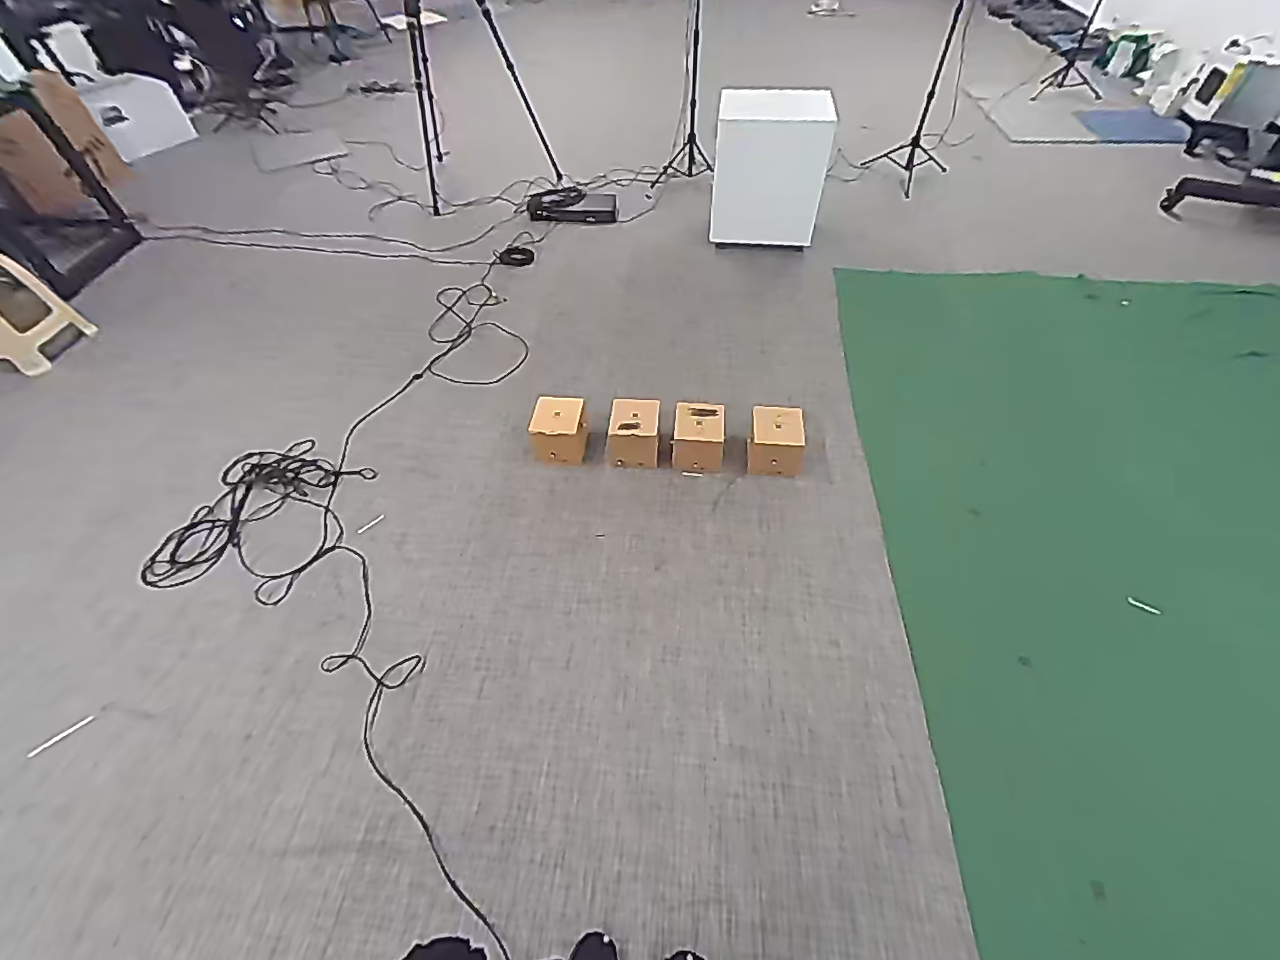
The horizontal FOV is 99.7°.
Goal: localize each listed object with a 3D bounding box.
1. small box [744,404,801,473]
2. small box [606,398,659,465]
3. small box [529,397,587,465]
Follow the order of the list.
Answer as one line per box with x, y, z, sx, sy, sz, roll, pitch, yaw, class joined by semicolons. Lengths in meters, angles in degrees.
0.456;-0.140;1.877;0.168;0.176;0.179;4;52;5;small box
-0.022;-0.168;1.915;0.168;0.176;0.179;2;50;5;small box
-0.287;-0.176;1.935;0.168;0.176;0.179;3;52;5;small box
